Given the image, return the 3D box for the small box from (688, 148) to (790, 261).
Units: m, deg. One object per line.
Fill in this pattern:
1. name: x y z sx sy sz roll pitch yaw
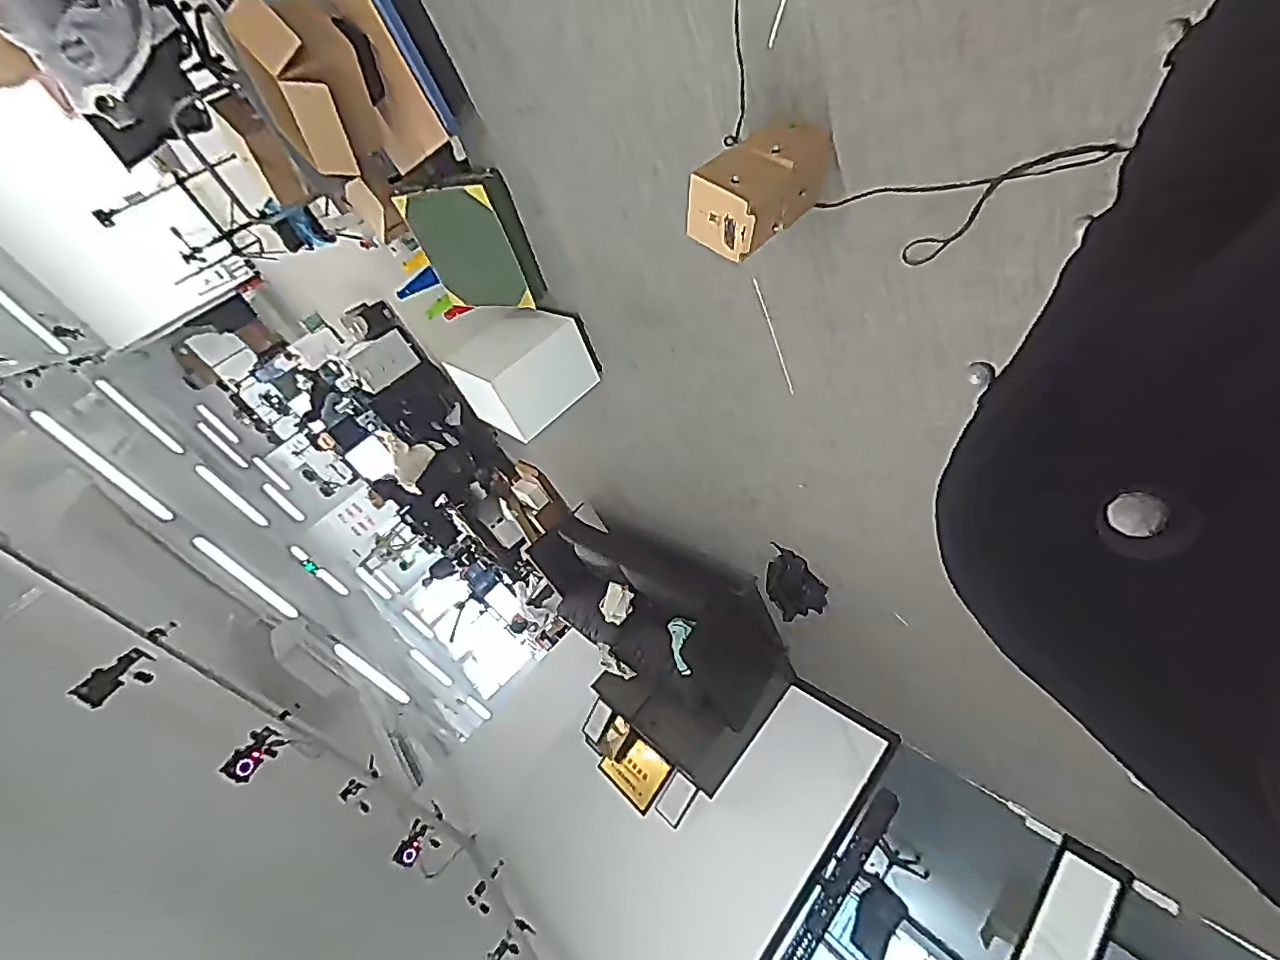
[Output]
1. small box: 0.243 -0.686 1.338 0.179 0.176 0.168 39 157 21

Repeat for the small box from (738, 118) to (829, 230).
1. small box: 0.361 -0.788 1.391 0.168 0.176 0.179 36 156 25
